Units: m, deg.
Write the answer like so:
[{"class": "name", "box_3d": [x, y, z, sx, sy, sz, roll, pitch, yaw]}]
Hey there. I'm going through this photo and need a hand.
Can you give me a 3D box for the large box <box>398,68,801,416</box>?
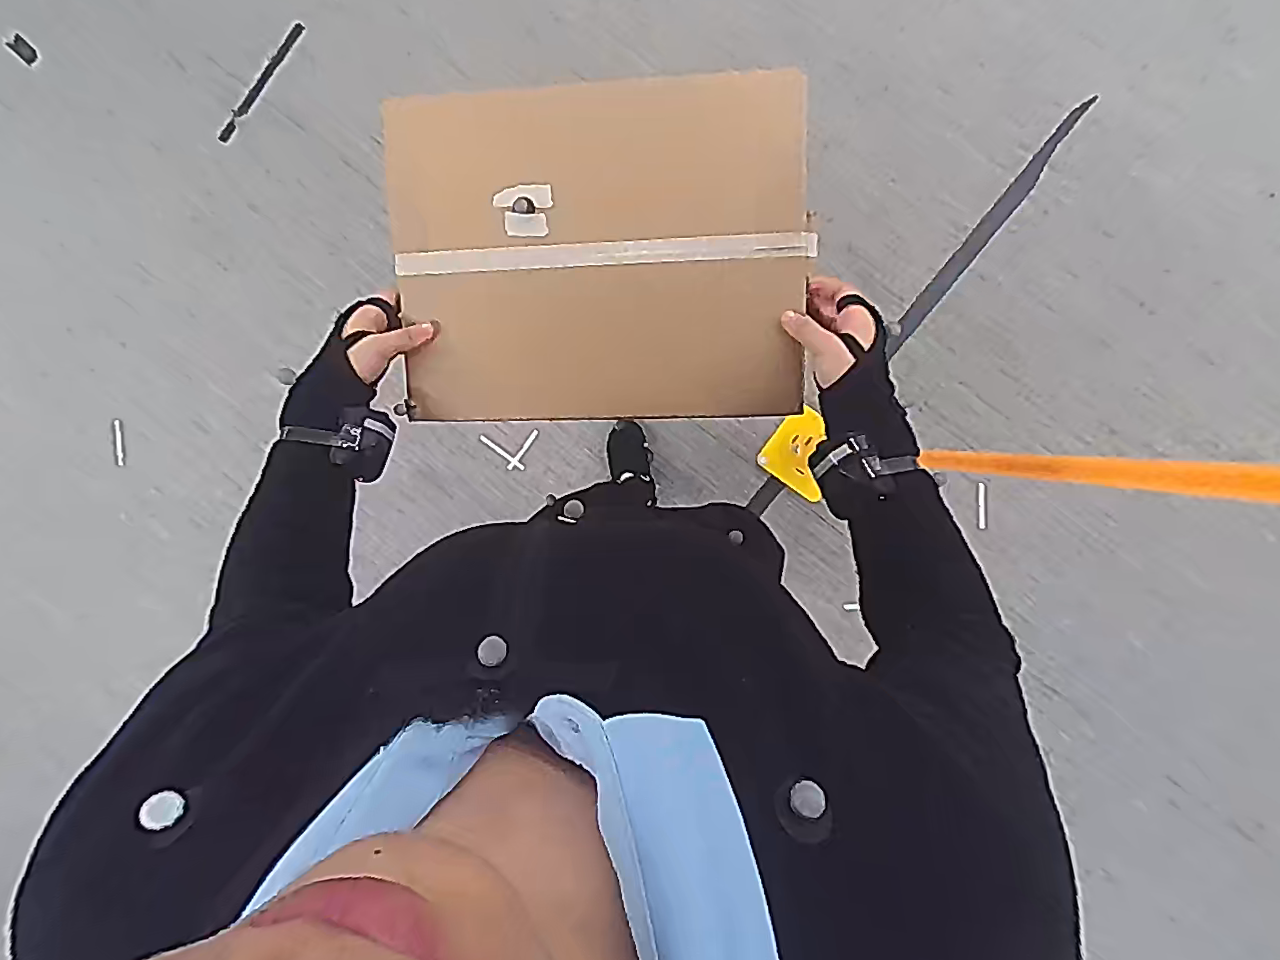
[{"class": "large box", "box_3d": [-0.025, -0.244, 0.684, 0.408, 0.320, 0.320, 0, 96, 7]}]
